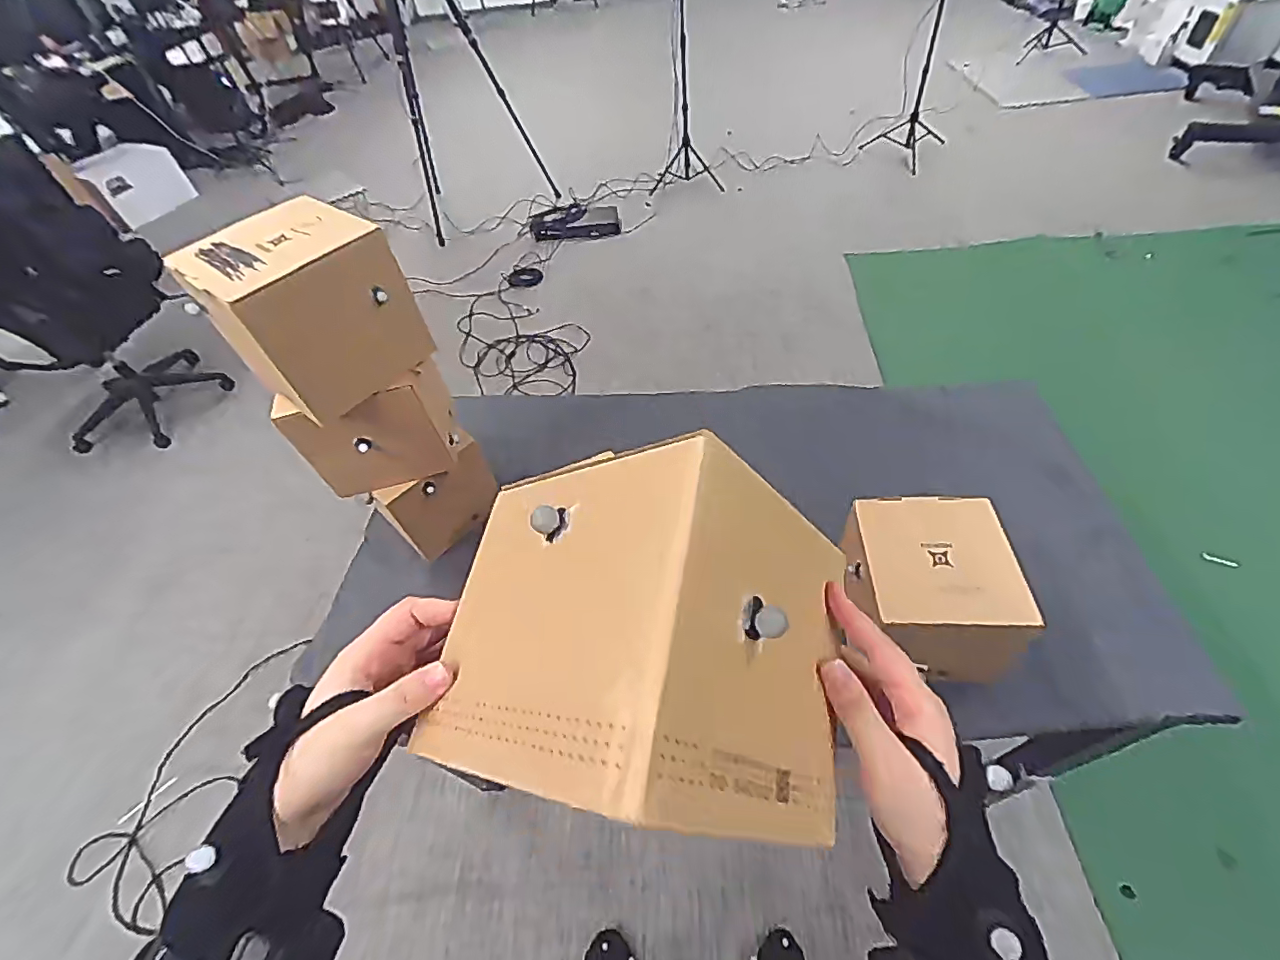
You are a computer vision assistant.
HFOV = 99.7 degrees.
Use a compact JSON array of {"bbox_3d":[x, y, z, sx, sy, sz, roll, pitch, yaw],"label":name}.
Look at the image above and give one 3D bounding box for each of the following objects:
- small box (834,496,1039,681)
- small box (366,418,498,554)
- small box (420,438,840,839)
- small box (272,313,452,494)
[{"bbox_3d":[0.355,0.138,0.694,0.168,0.176,0.179,-2,50,8],"label":"small box"},{"bbox_3d":[-0.365,-0.007,0.911,0.179,0.176,0.168,34,63,29],"label":"small box"},{"bbox_3d":[0.003,0.099,0.325,0.179,0.168,0.176,-12,56,40],"label":"small box"},{"bbox_3d":[-0.382,-0.106,0.780,0.179,0.176,0.168,-16,52,-5],"label":"small box"}]
